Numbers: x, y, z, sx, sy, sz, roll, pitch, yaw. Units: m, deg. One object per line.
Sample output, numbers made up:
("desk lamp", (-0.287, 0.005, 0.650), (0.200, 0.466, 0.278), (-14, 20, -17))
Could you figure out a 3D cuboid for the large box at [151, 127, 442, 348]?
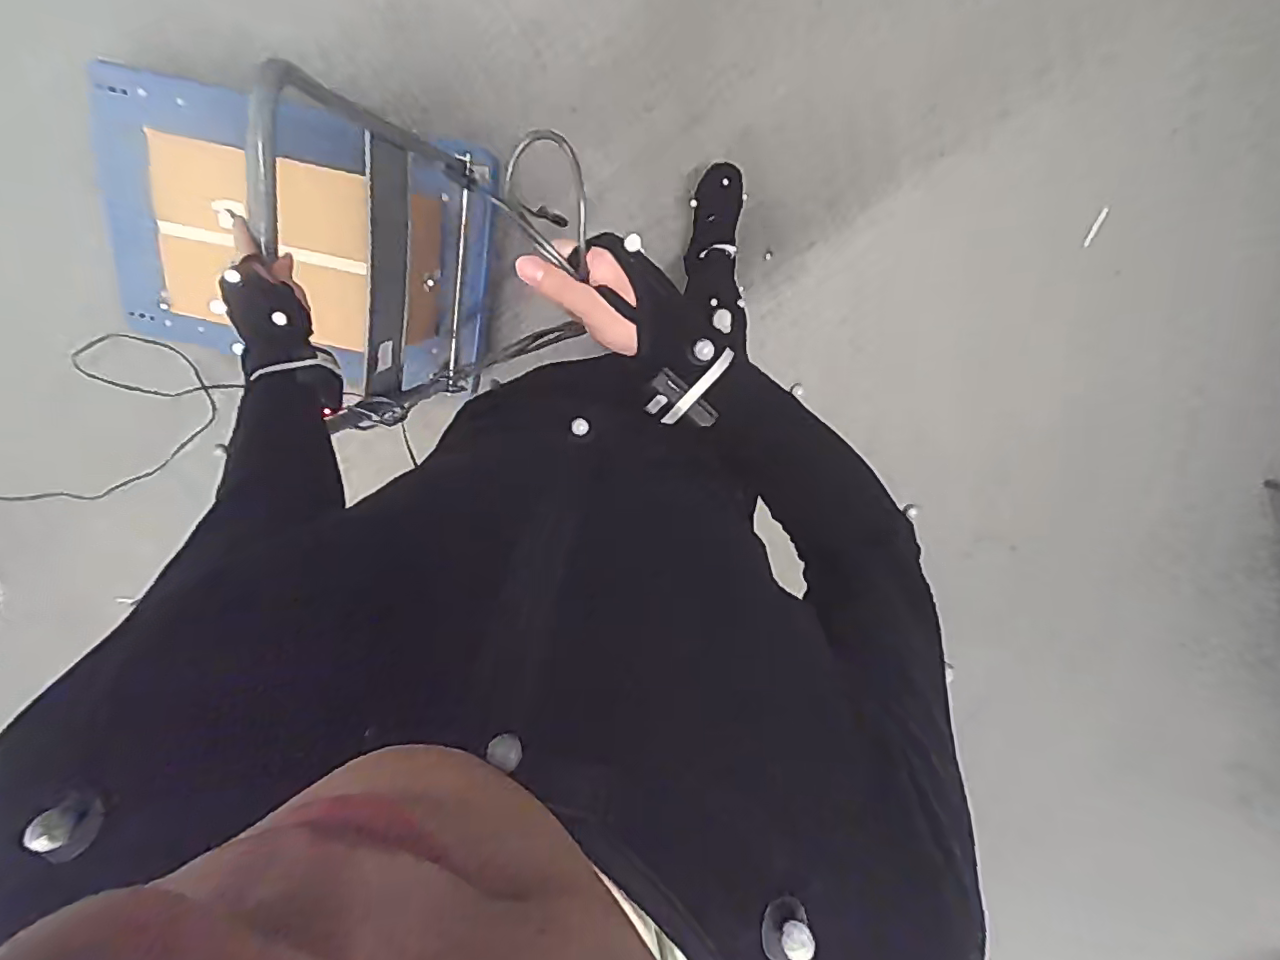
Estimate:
("large box", (-0.669, -0.488, 1.128), (0.408, 0.320, 0.320), (12, 111, -2))
